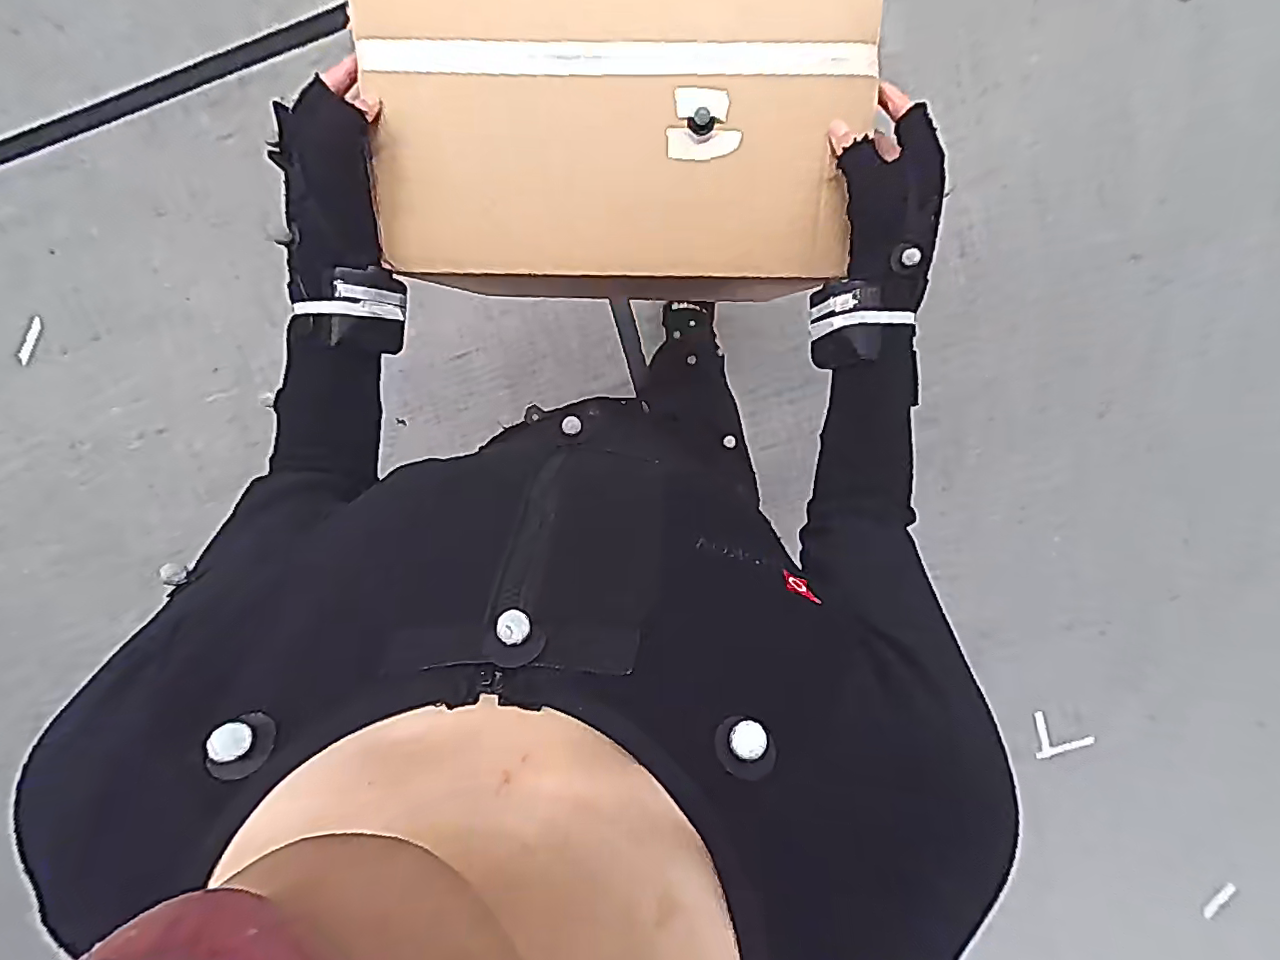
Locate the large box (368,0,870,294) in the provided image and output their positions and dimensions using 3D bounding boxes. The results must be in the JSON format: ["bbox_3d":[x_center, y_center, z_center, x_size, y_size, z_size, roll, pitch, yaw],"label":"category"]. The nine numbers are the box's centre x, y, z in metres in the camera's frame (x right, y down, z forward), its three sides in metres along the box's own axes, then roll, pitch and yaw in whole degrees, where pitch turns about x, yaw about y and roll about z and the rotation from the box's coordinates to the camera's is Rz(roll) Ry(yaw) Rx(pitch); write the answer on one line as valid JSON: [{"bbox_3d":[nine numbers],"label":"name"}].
[{"bbox_3d":[-0.019,-0.377,0.579,0.408,0.320,0.320,0,105,0],"label":"large box"}]
